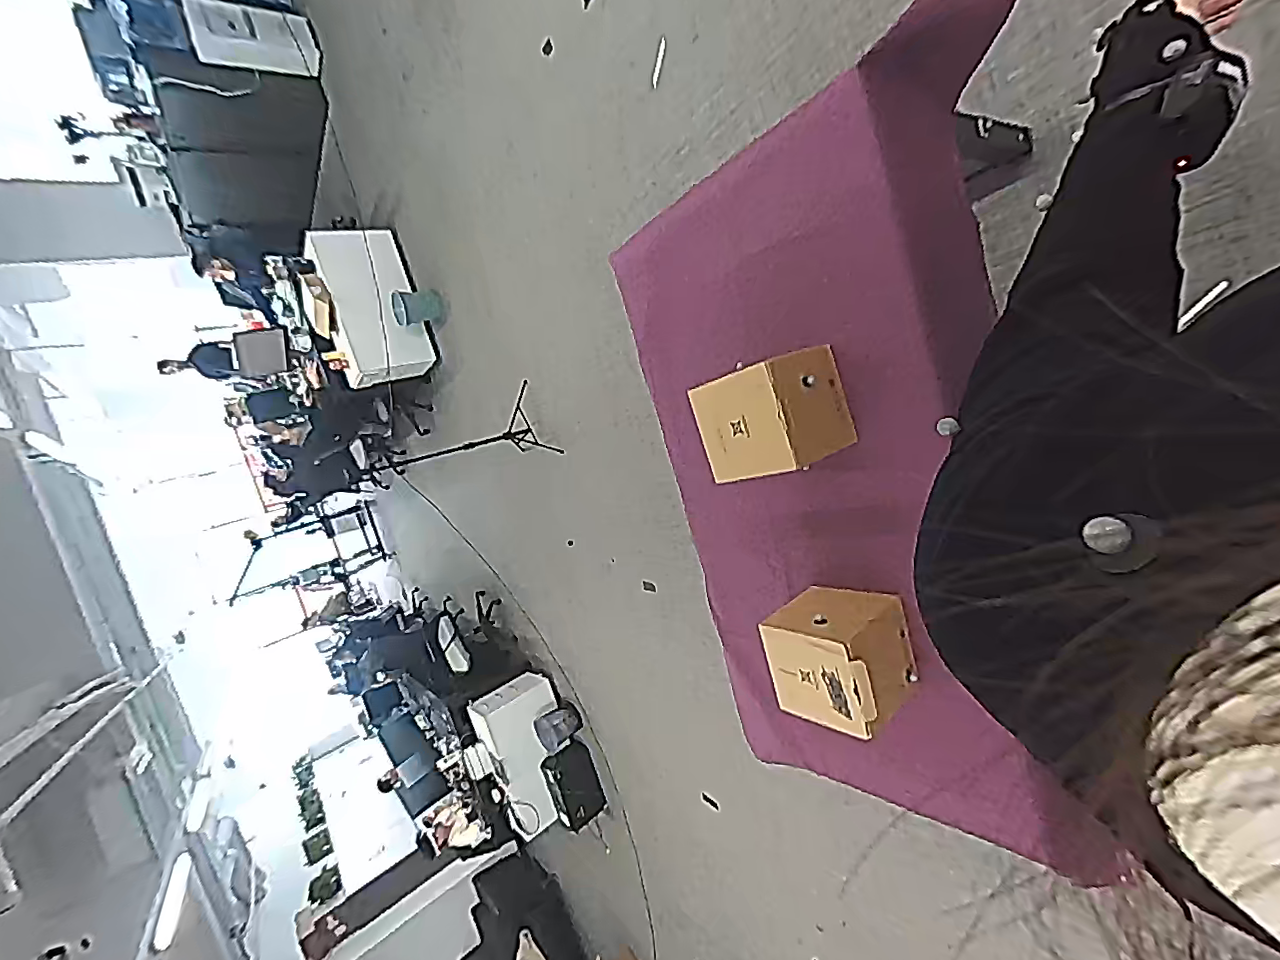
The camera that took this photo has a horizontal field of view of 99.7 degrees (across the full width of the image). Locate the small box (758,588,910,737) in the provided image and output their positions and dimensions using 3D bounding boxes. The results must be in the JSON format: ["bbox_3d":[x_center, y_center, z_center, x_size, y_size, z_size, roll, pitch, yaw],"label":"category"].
[{"bbox_3d":[0.337,0.297,0.926,0.179,0.176,0.168,-6,102,54],"label":"small box"}]

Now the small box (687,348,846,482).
[{"bbox_3d":[0.213,-0.106,0.887,0.179,0.176,0.168,-11,97,55],"label":"small box"}]
